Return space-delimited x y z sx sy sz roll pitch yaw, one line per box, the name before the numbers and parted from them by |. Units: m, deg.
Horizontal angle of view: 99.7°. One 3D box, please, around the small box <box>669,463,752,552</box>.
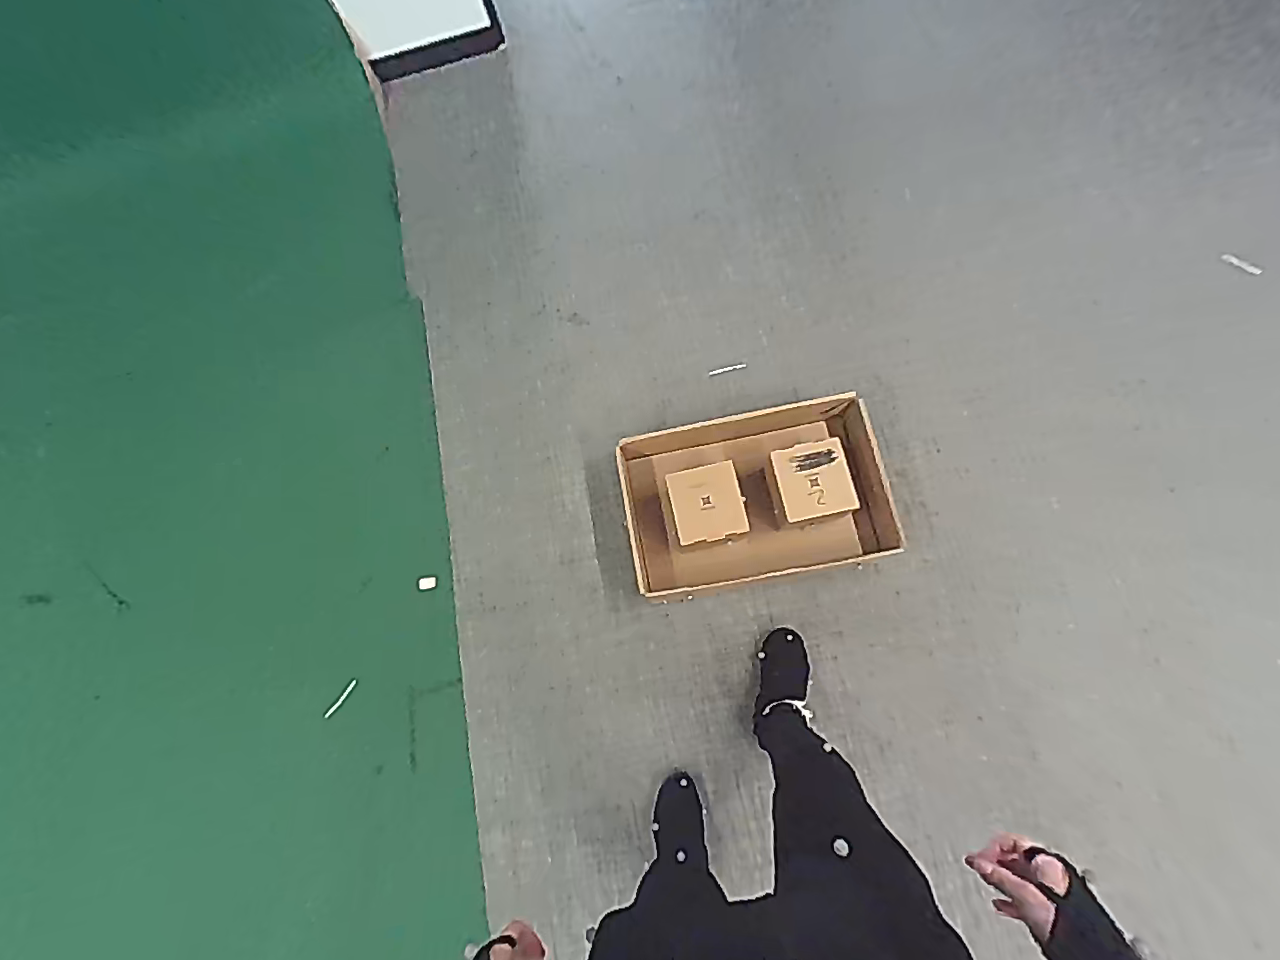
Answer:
small box | 0.171 0.076 1.337 0.168 0.176 0.179 -12 75 2
